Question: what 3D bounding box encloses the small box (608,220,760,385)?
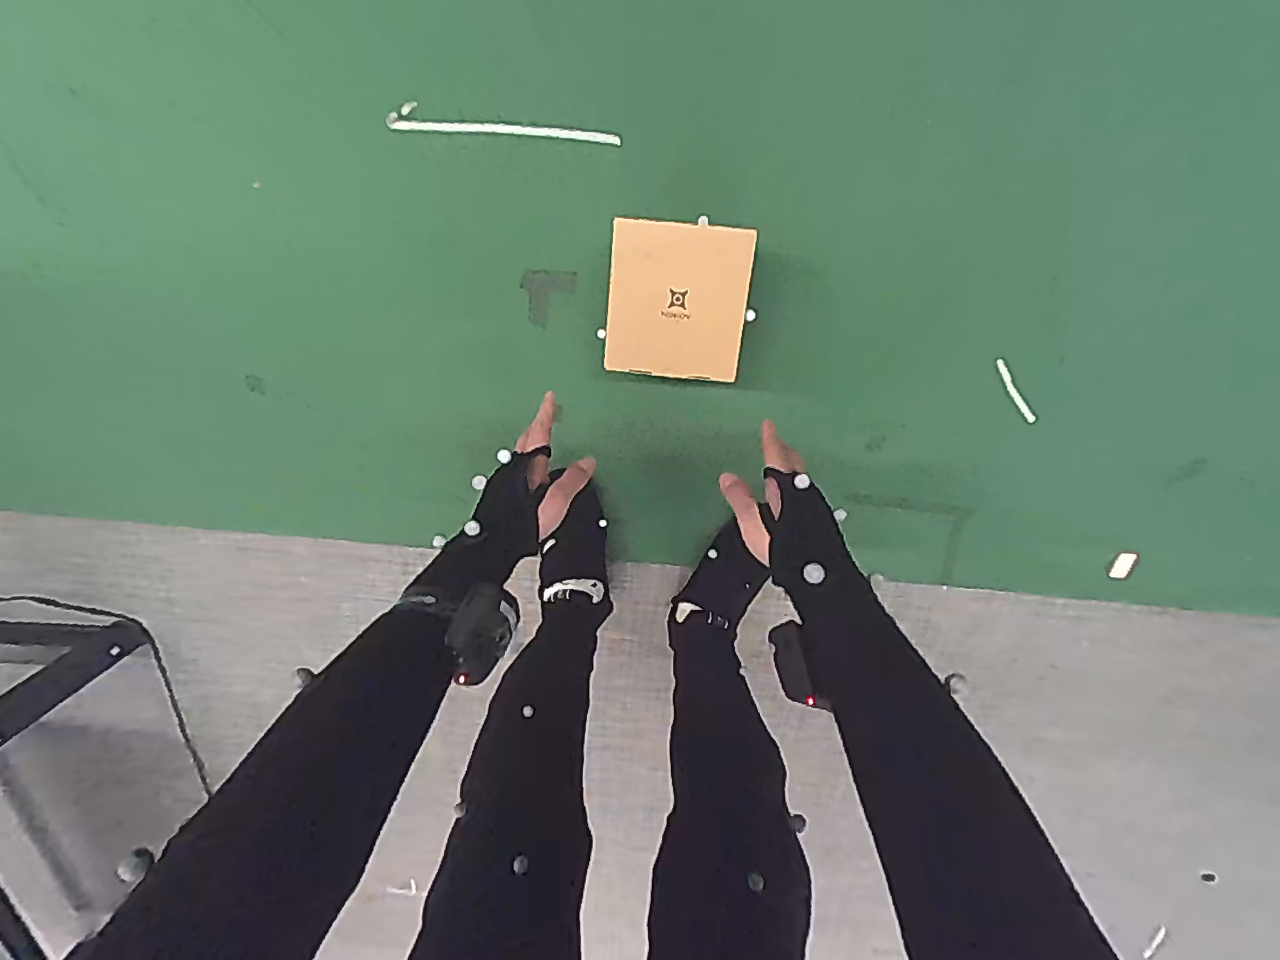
[{"bbox_3d":[0.052,-0.235,0.714,0.168,0.176,0.179,6,112,1],"label":"small box"}]
